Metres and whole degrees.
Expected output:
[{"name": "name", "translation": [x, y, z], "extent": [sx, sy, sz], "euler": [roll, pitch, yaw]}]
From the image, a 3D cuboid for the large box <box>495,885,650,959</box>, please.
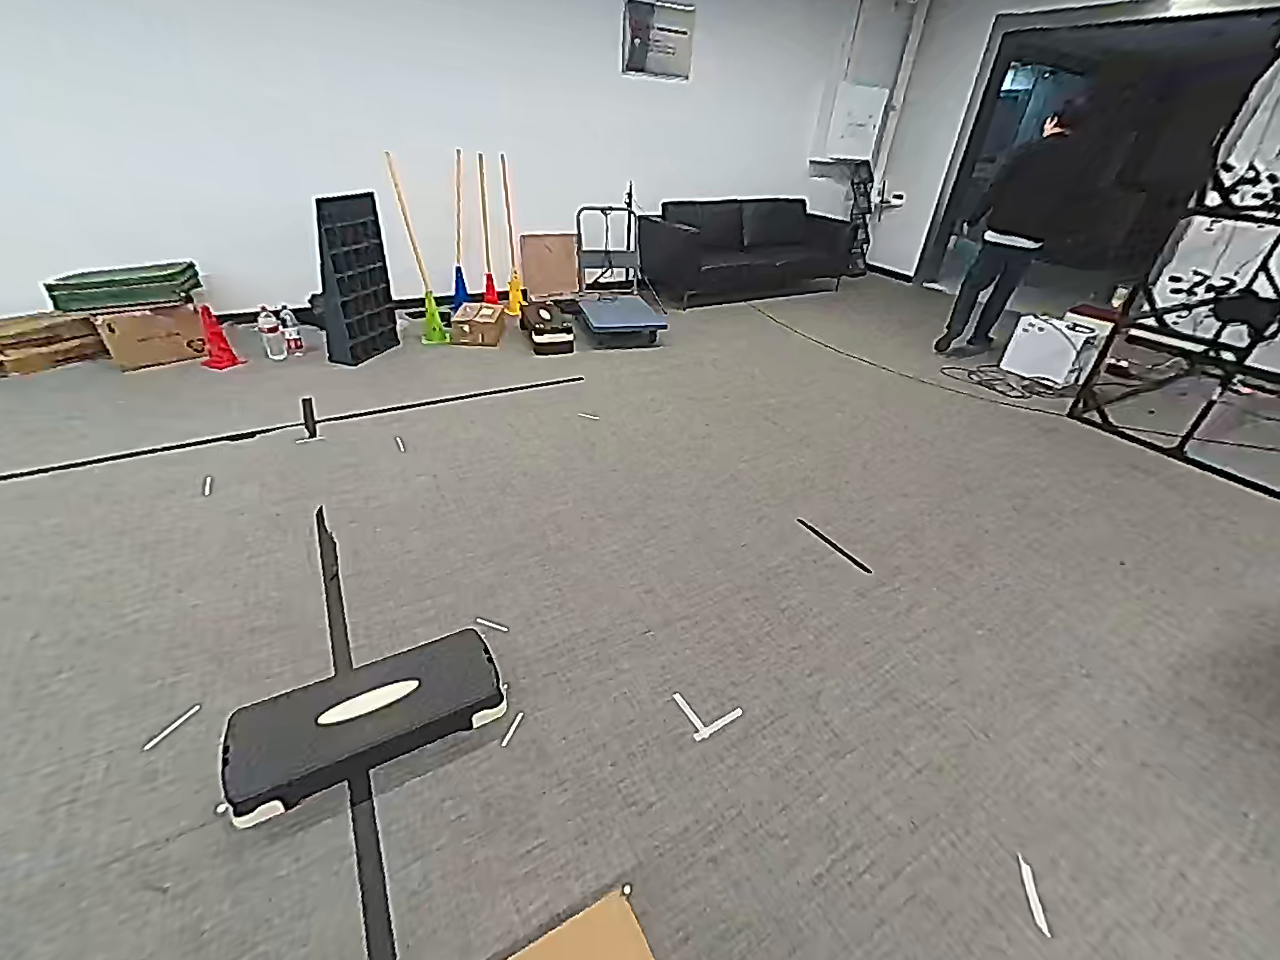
[{"name": "large box", "translation": [-0.149, 0.960, 0.838], "extent": [0.408, 0.320, 0.320], "euler": [-14, 37, -27]}]
